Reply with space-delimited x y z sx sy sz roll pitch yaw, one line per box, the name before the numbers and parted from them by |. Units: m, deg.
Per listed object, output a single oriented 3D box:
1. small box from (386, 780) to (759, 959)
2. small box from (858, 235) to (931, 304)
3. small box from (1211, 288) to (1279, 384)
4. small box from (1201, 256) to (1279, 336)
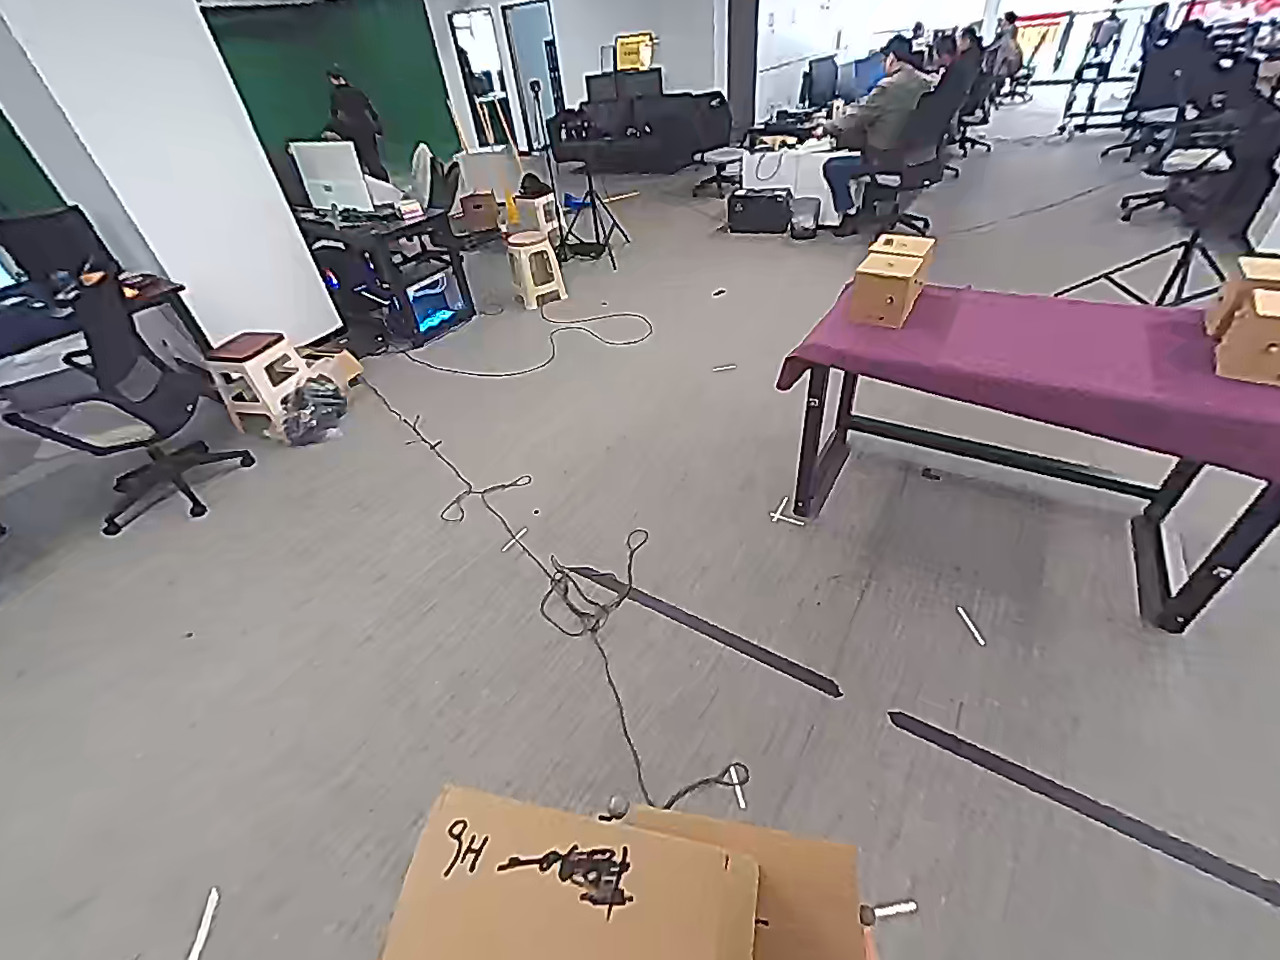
small box | -0.027 0.288 0.299 0.168 0.176 0.179 1 56 18
small box | 0.871 -0.724 1.862 0.179 0.176 0.168 21 49 28
small box | 1.541 -0.348 1.314 0.168 0.176 0.179 22 46 31
small box | 1.659 -0.482 1.448 0.179 0.176 0.168 19 47 28
